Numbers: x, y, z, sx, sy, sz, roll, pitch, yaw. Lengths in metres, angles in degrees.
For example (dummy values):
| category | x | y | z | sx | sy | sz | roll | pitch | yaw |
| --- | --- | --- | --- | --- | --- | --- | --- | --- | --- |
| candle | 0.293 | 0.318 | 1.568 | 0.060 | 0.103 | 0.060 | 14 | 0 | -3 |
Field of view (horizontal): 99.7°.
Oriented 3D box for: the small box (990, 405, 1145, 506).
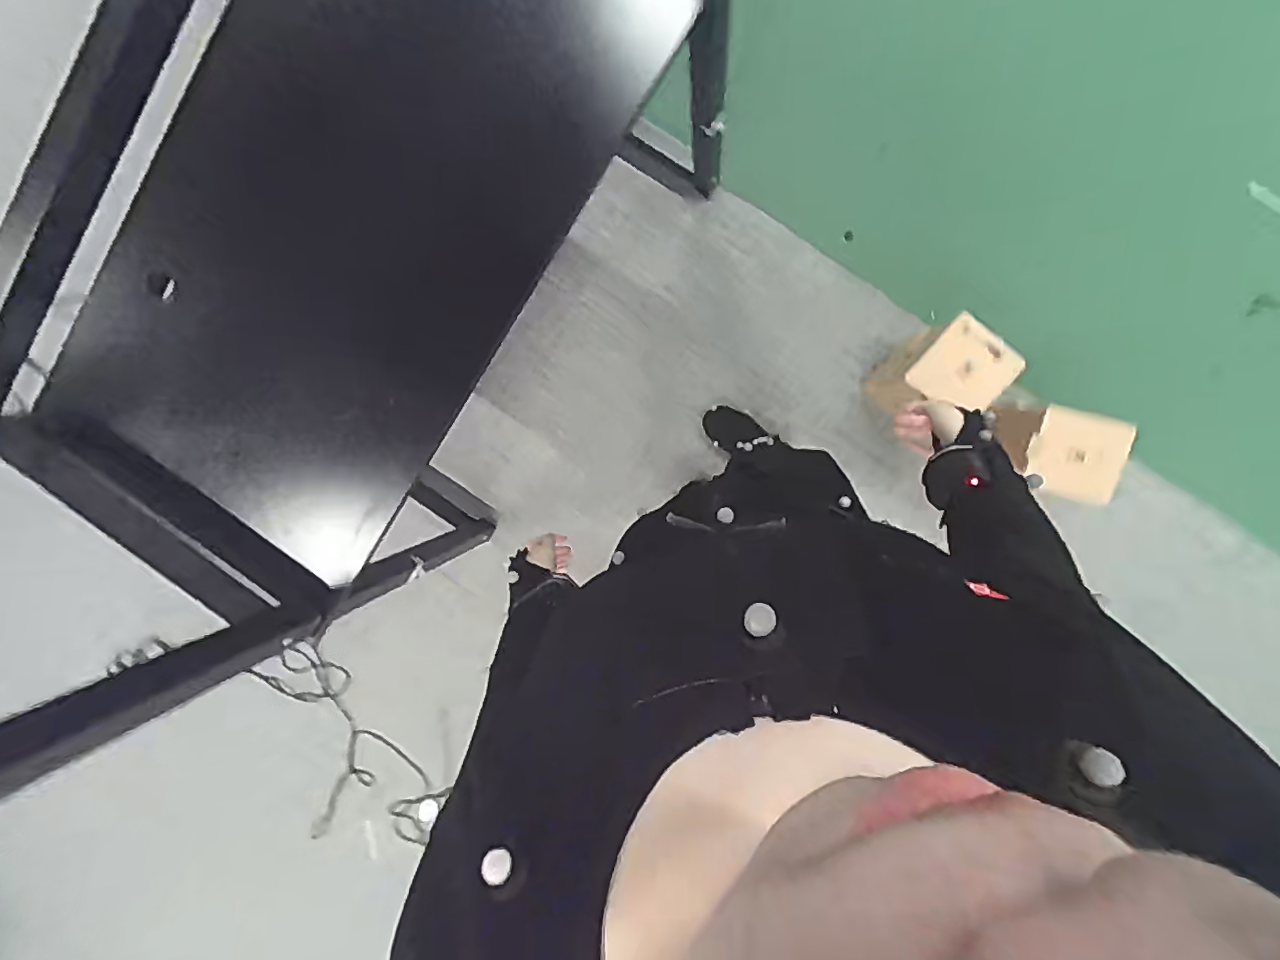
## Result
| category | x | y | z | sx | sy | sz | roll | pitch | yaw |
| --- | --- | --- | --- | --- | --- | --- | --- | --- | --- |
| small box | 0.887 | -0.056 | 1.144 | 0.179 | 0.176 | 0.168 | 15 | 99 | 5 |

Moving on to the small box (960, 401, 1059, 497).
| category | x | y | z | sx | sy | sz | roll | pitch | yaw |
| --- | --- | --- | --- | --- | --- | --- | --- | --- | --- |
| small box | 0.919 | -0.076 | 1.302 | 0.179 | 0.176 | 0.168 | 27 | 99 | 3 |

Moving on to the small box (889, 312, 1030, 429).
| category | x | y | z | sx | sy | sz | roll | pitch | yaw |
| --- | --- | --- | --- | --- | --- | --- | --- | --- | --- |
| small box | 0.663 | -0.223 | 1.154 | 0.168 | 0.176 | 0.179 | 41 | 99 | 3 |
